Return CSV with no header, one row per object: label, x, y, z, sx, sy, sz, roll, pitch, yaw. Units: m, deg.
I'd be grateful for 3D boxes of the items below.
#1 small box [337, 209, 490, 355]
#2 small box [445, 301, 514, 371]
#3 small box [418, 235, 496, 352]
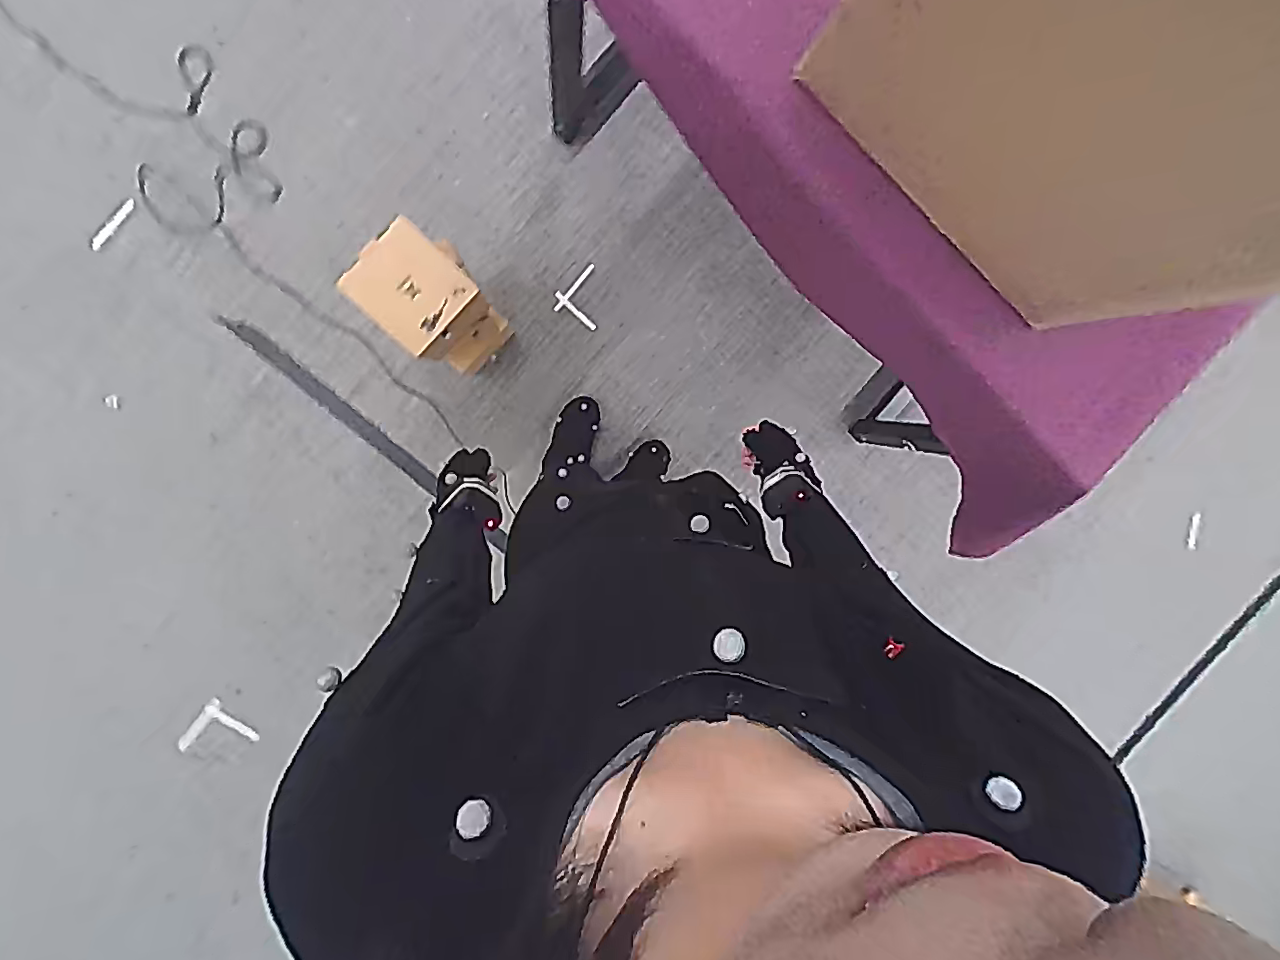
small box,-0.400,-0.346,0.992,0.179,0.176,0.168,44,91,-12
small box,-0.428,-0.381,1.315,0.179,0.176,0.168,44,91,-12
small box,-0.423,-0.382,1.150,0.168,0.176,0.179,-28,100,-4
